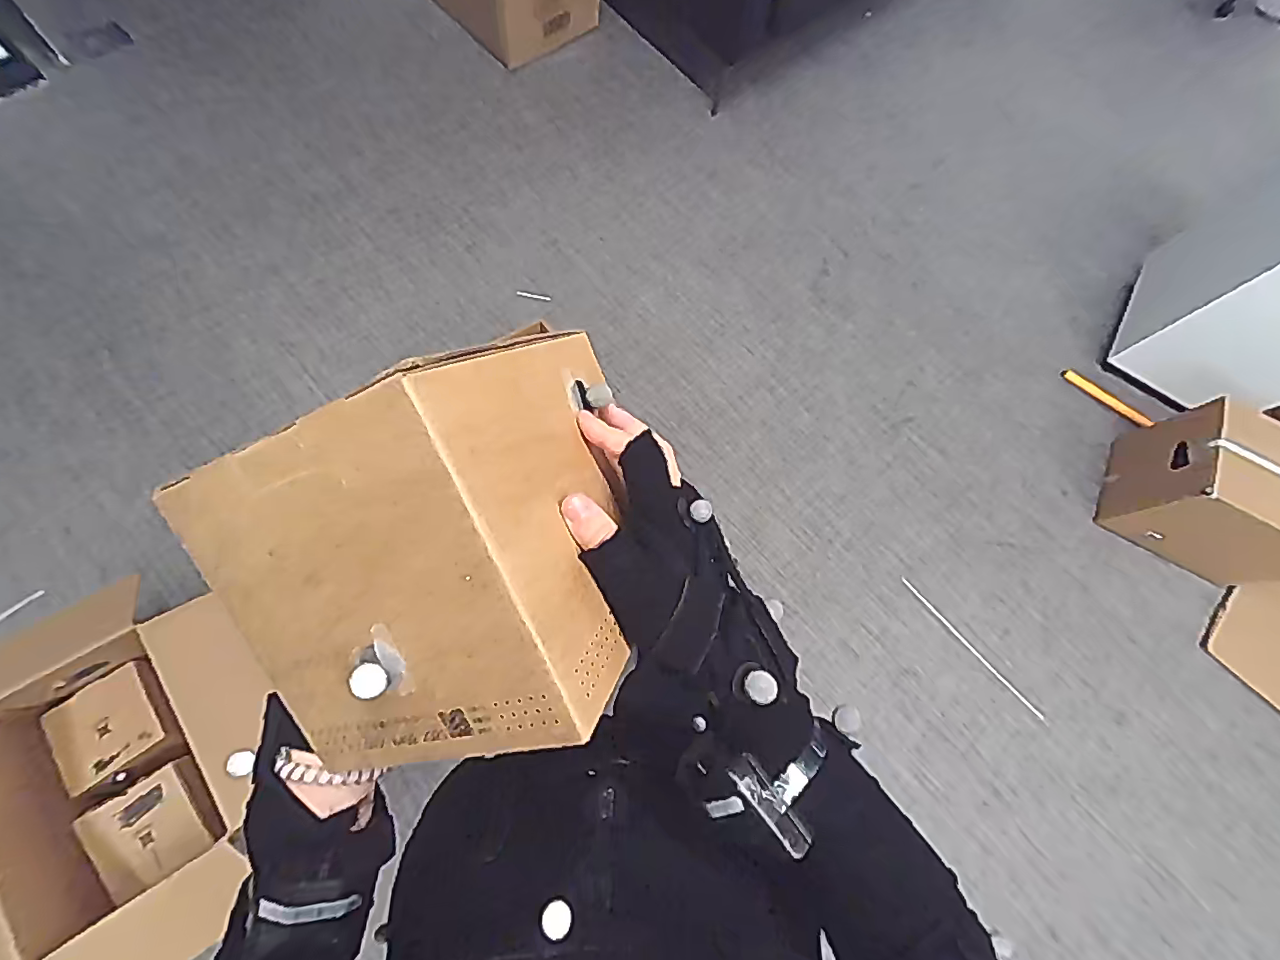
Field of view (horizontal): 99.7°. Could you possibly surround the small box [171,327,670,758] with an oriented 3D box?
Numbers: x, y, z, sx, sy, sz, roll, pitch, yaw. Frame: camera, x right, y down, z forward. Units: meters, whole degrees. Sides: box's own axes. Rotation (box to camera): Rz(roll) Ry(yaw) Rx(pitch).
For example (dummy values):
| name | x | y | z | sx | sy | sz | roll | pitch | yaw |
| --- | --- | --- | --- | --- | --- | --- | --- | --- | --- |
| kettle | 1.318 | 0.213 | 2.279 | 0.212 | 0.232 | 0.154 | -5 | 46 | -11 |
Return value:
| name | x | y | z | sx | sy | sz | roll | pitch | yaw |
| --- | --- | --- | --- | --- | --- | --- | --- | --- | --- |
| small box | -0.096 | 0.026 | 0.316 | 0.168 | 0.179 | 0.176 | -18 | 104 | 22 |
